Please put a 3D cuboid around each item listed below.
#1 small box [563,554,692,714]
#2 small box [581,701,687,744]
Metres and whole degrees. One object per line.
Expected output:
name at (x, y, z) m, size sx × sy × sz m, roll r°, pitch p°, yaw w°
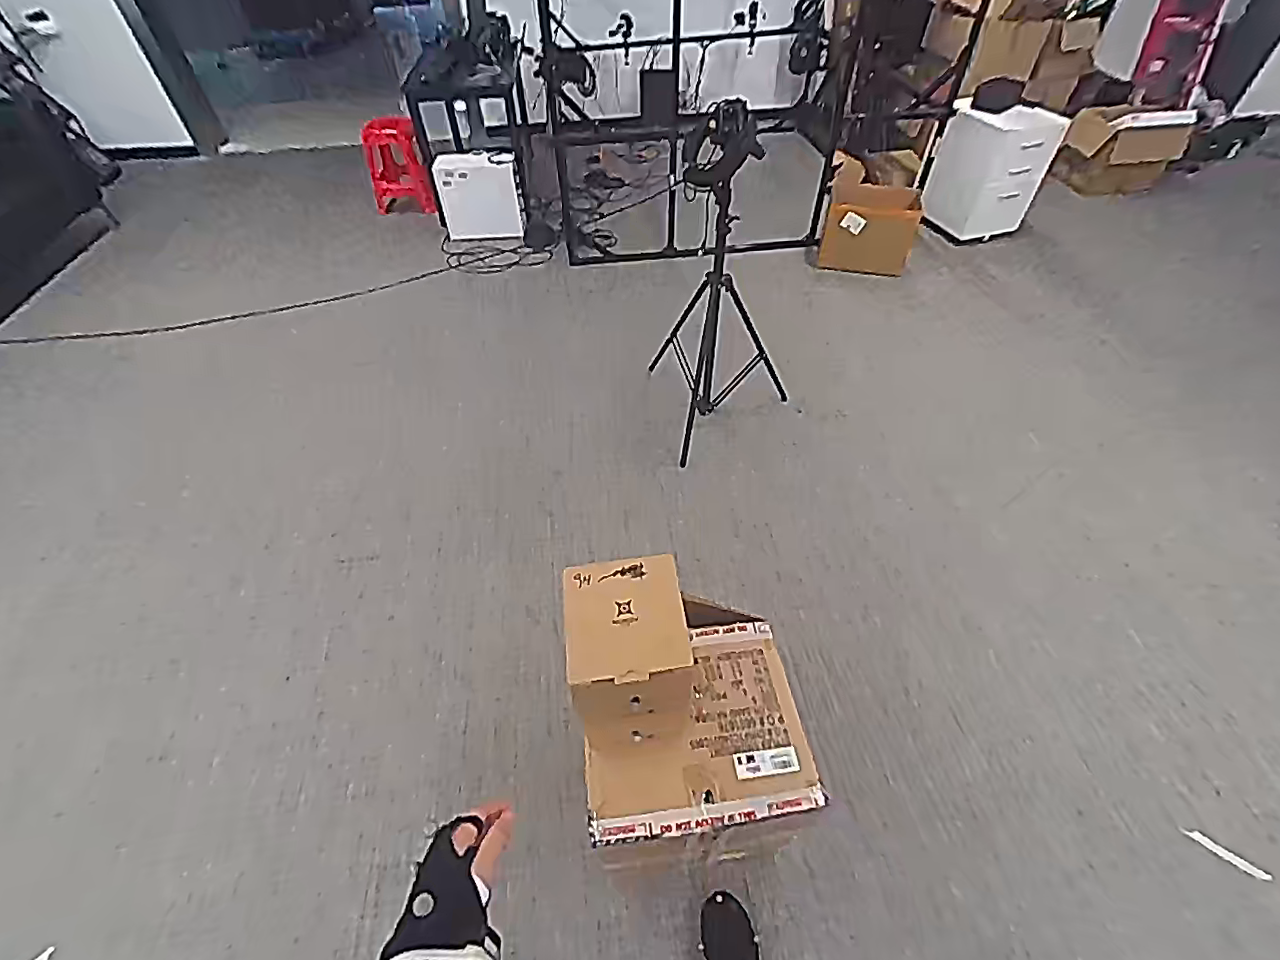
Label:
small box at (-0.017, 0.235, 0.805) m, size 0.168 × 0.176 × 0.179 m, roll -8°, pitch 51°, yaw -3°
small box at (-0.017, 0.334, 0.937) m, size 0.168 × 0.176 × 0.179 m, roll -9°, pitch 51°, yaw -3°
